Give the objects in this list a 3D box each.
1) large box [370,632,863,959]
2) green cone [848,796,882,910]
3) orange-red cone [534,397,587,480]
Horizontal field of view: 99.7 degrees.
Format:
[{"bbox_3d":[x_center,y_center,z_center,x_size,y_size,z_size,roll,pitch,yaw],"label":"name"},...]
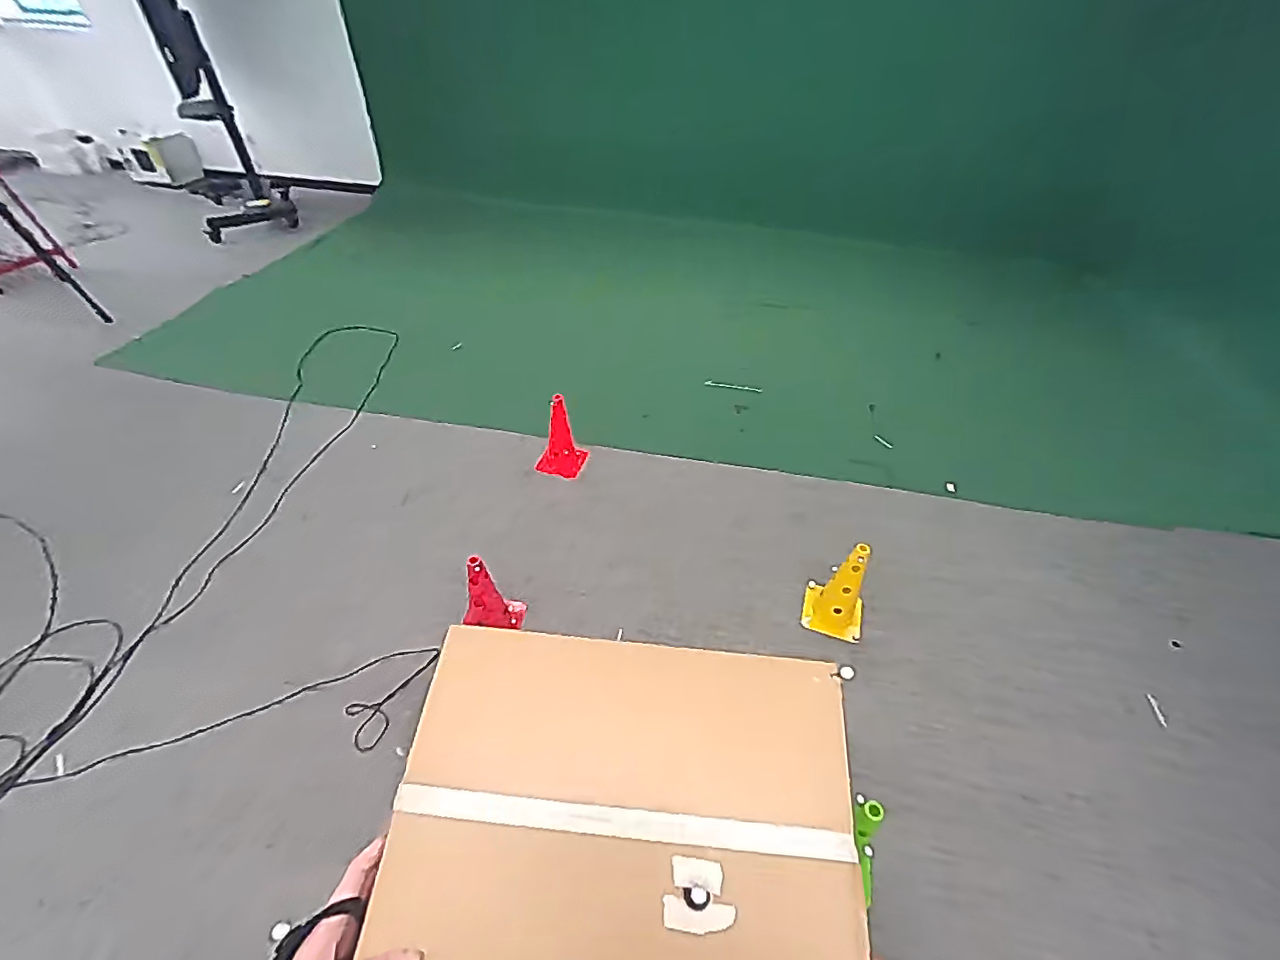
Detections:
[{"bbox_3d":[-0.013,0.385,0.611,0.408,0.320,0.320,5,58,2],"label":"large box"},{"bbox_3d":[0.501,0.845,1.291,0.200,0.368,0.202,13,43,10],"label":"green cone"},{"bbox_3d":[-0.359,-0.204,2.353,0.199,0.360,0.198,13,43,12],"label":"orange-red cone"}]
